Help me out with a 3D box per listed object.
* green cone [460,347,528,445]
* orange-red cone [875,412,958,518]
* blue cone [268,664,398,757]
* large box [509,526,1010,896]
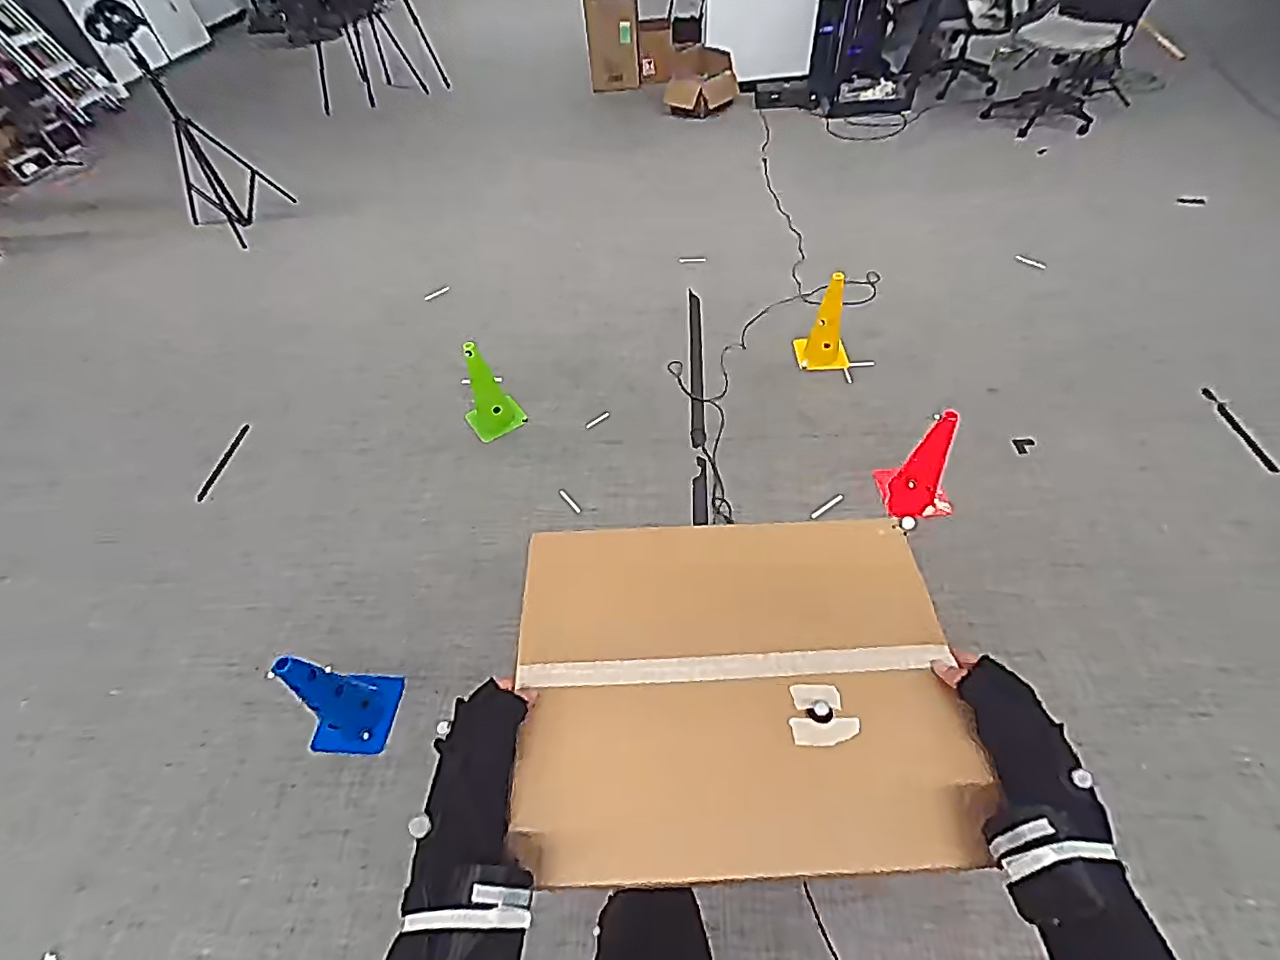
[{"bbox_3d":[-0.586,-0.344,2.014,0.202,0.368,0.200,-32,54,-18],"label":"green cone"},{"bbox_3d":[0.881,-0.066,1.645,0.198,0.360,0.199,-3,49,2],"label":"orange-red cone"},{"bbox_3d":[-0.773,0.538,1.330,0.192,0.380,0.193,0,50,7],"label":"blue cone"},{"bbox_3d":[0.088,0.273,0.626,0.408,0.320,0.320,-2,52,-1],"label":"large box"}]
